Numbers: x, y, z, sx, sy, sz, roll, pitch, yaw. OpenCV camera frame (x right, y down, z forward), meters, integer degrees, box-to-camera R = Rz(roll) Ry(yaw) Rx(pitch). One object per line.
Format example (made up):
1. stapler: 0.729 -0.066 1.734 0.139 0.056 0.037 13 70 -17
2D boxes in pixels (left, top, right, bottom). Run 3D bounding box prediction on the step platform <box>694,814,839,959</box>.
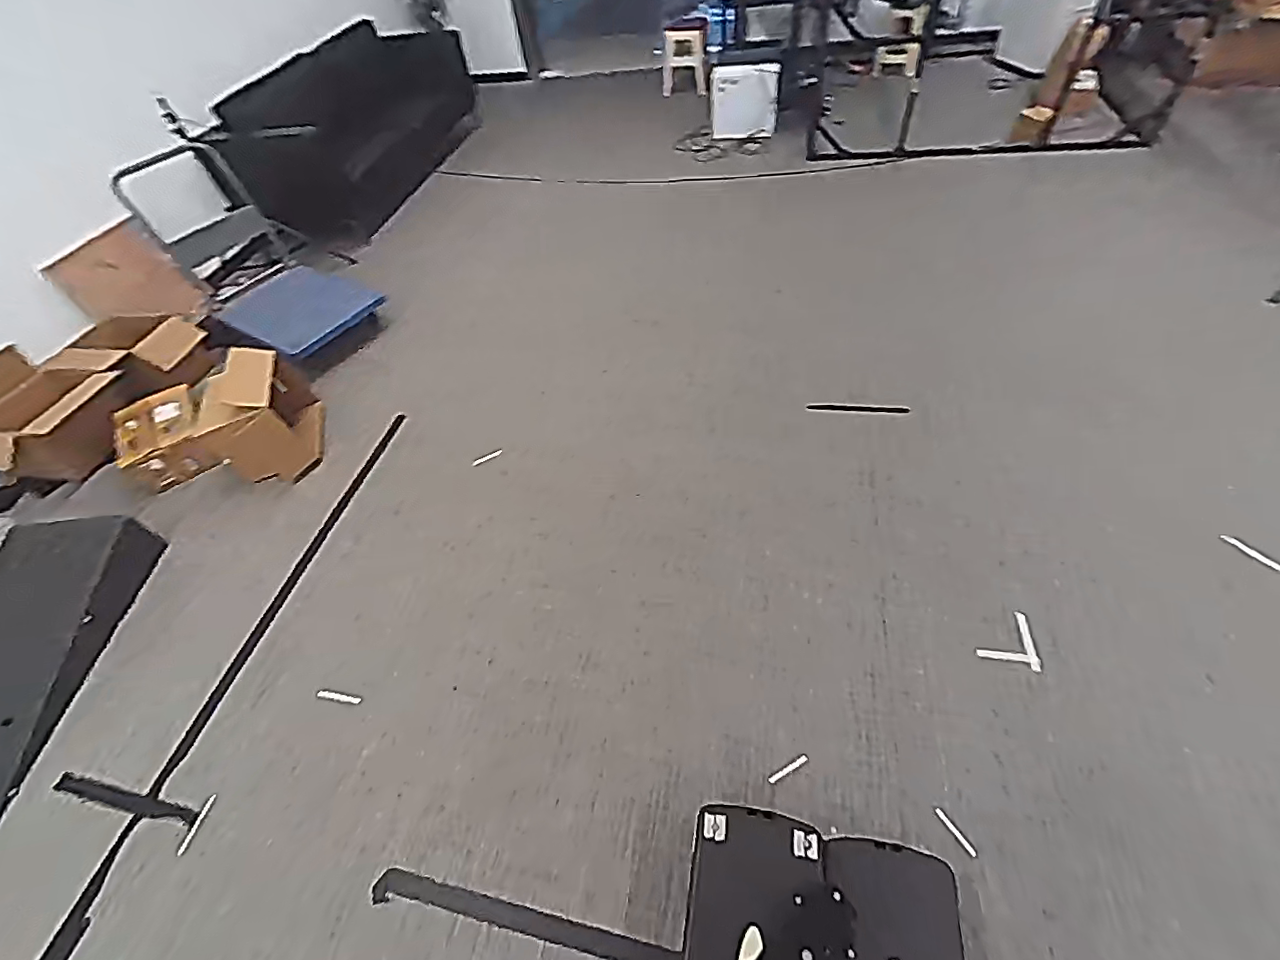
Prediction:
1. step platform: 0.241 1.068 1.074 0.286 0.204 0.684 4 50 11
